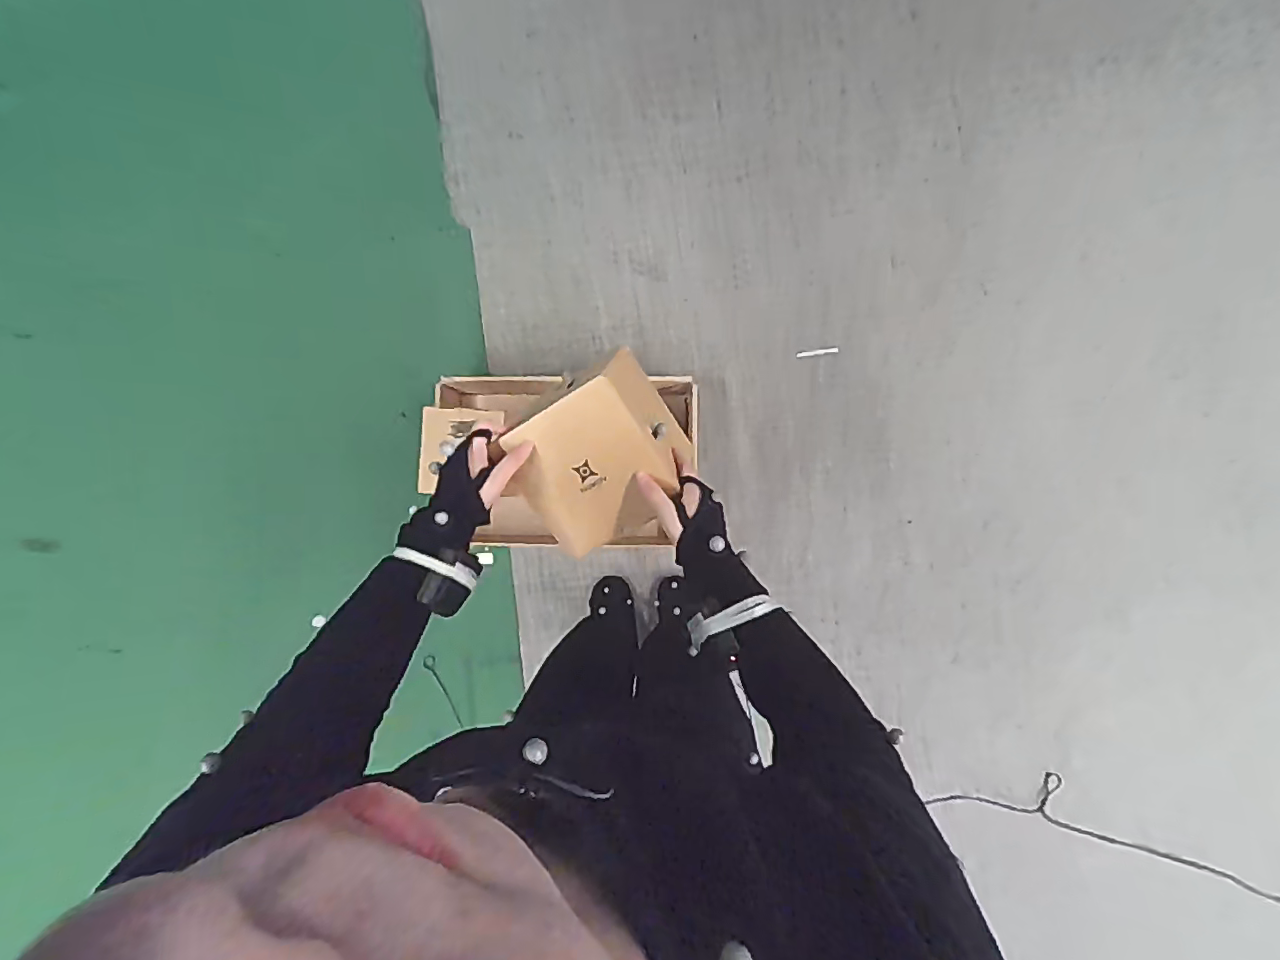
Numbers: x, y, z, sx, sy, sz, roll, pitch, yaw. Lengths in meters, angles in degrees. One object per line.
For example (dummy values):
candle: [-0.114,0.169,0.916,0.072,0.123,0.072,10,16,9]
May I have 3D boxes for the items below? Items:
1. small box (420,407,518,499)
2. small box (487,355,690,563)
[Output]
small box: [-0.349,-0.053,1.152,0.168,0.176,0.179,4,90,1]
small box: [-0.051,-0.037,0.671,0.168,0.176,0.179,-30,110,18]
